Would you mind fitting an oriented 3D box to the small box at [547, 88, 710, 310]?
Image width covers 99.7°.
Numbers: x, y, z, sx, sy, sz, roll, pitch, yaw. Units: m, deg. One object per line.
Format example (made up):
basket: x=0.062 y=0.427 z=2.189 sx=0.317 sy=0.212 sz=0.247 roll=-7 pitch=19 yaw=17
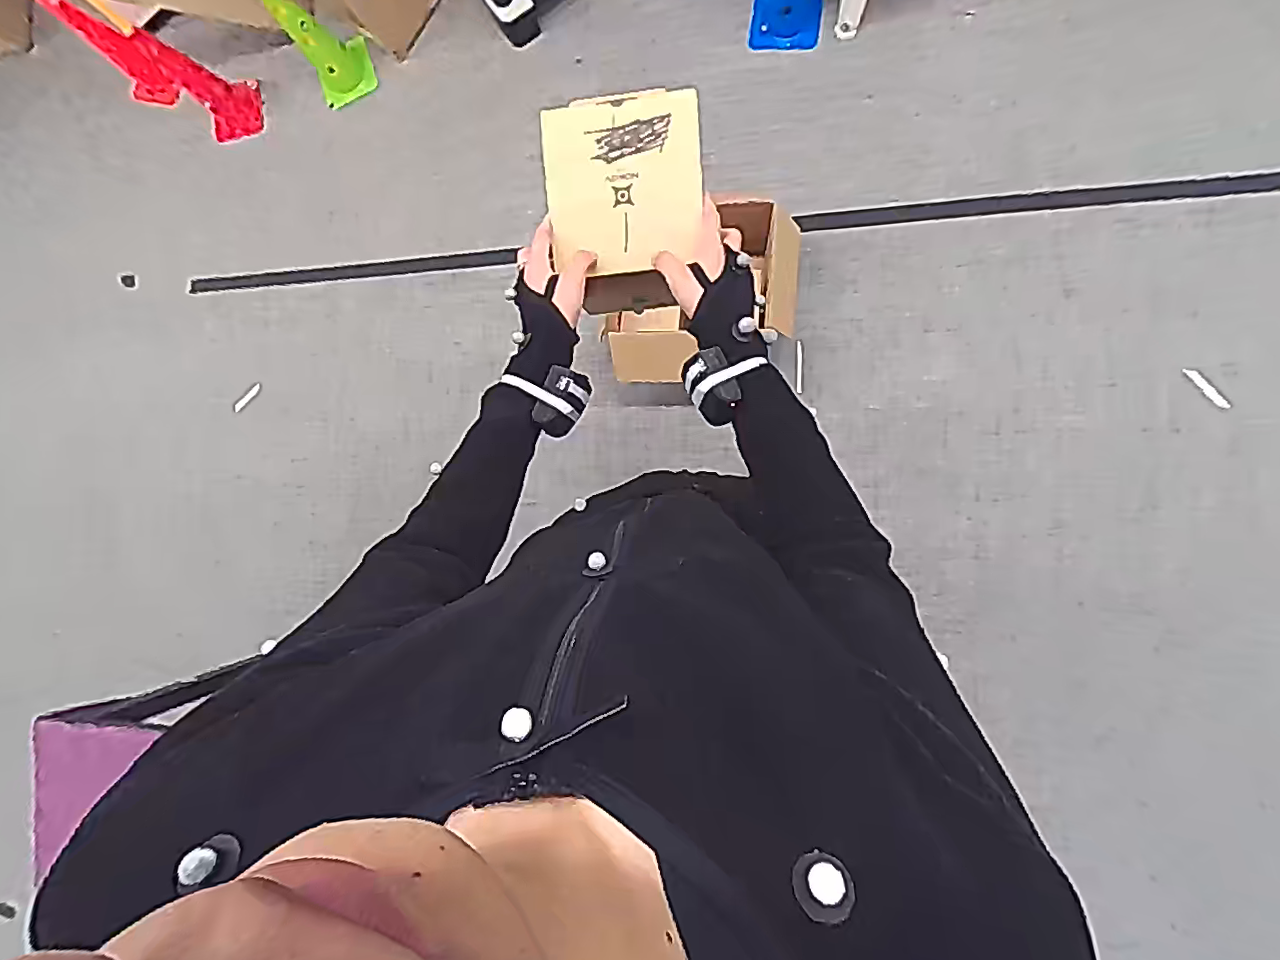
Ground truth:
small box: x=-0.004 y=-0.316 z=0.645 sx=0.168 sy=0.176 sz=0.179 roll=-4 pitch=95 yaw=8
